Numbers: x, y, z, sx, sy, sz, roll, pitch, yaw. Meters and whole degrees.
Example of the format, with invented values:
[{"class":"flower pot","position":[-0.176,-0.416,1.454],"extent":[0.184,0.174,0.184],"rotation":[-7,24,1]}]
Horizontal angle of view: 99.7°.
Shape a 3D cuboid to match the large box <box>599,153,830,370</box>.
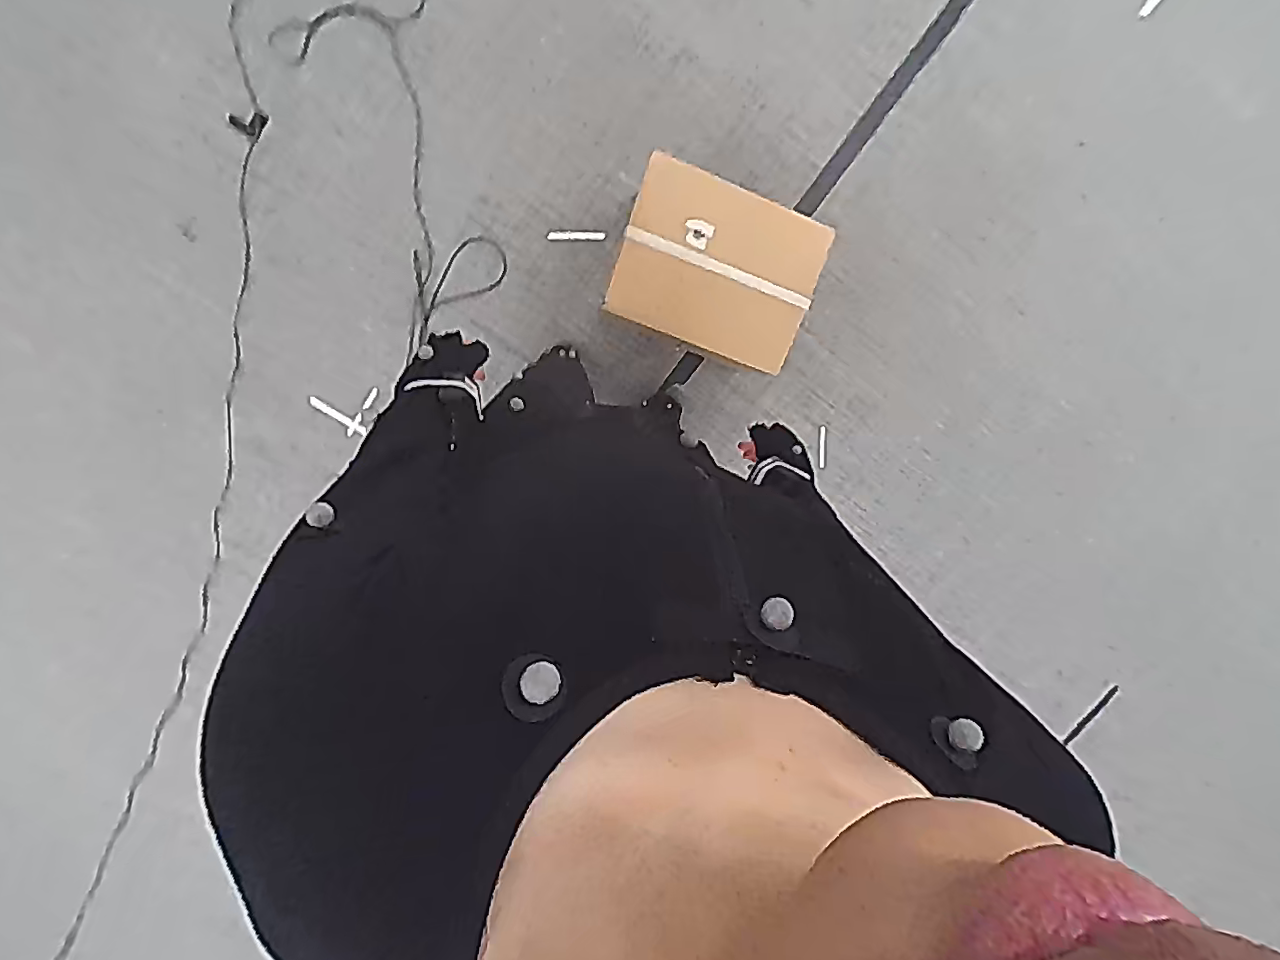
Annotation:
[{"class":"large box","position":[0.143,-0.471,1.244],"extent":[0.408,0.320,0.320],"rotation":[19,102,-9]}]
